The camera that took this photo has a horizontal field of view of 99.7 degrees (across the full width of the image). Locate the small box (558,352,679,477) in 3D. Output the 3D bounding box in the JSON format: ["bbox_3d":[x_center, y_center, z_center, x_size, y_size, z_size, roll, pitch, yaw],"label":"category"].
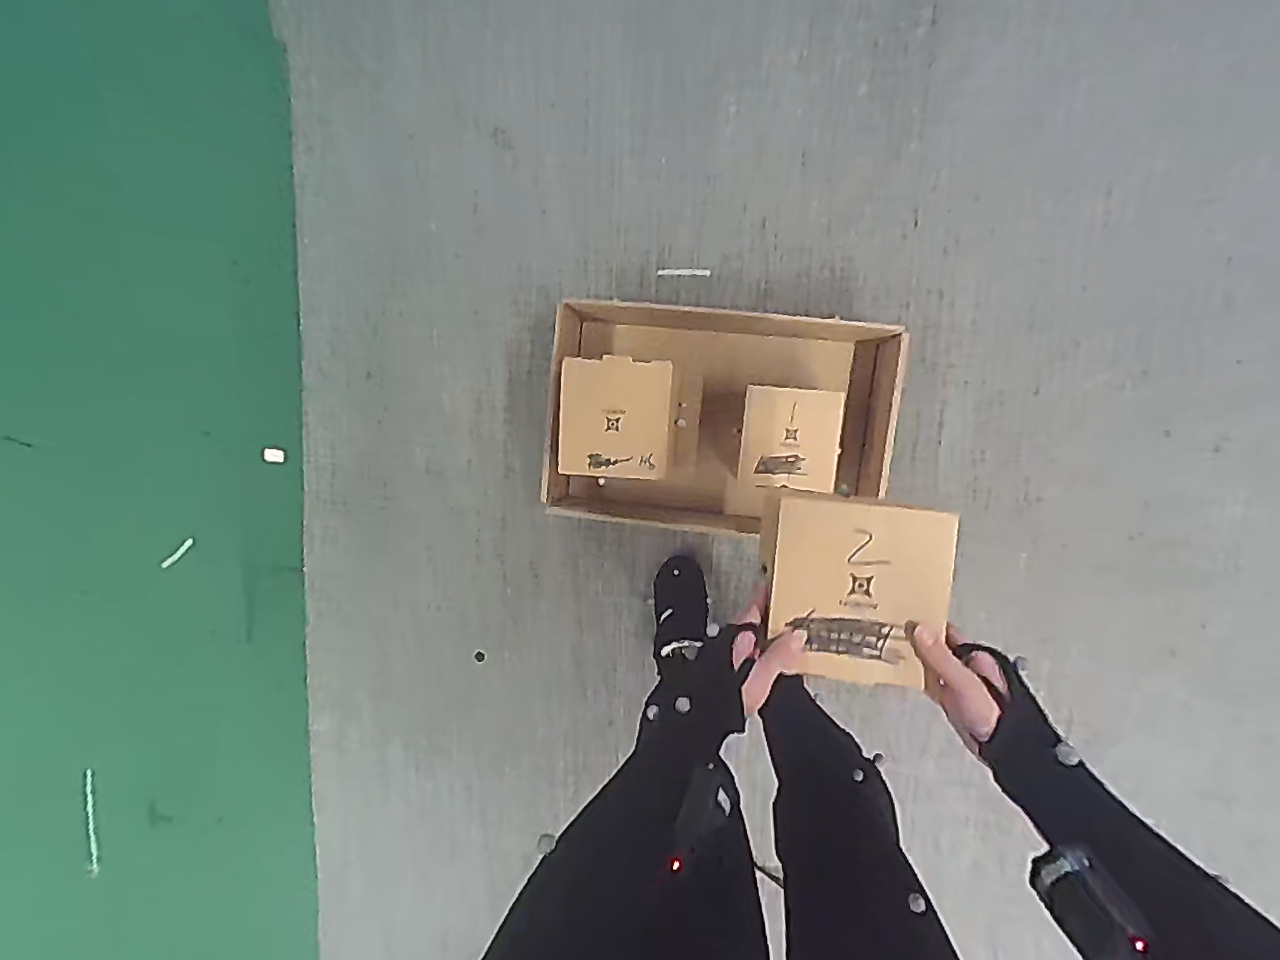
[{"bbox_3d":[-0.026,-0.101,0.870,0.168,0.176,0.179,4,95,7],"label":"small box"}]
